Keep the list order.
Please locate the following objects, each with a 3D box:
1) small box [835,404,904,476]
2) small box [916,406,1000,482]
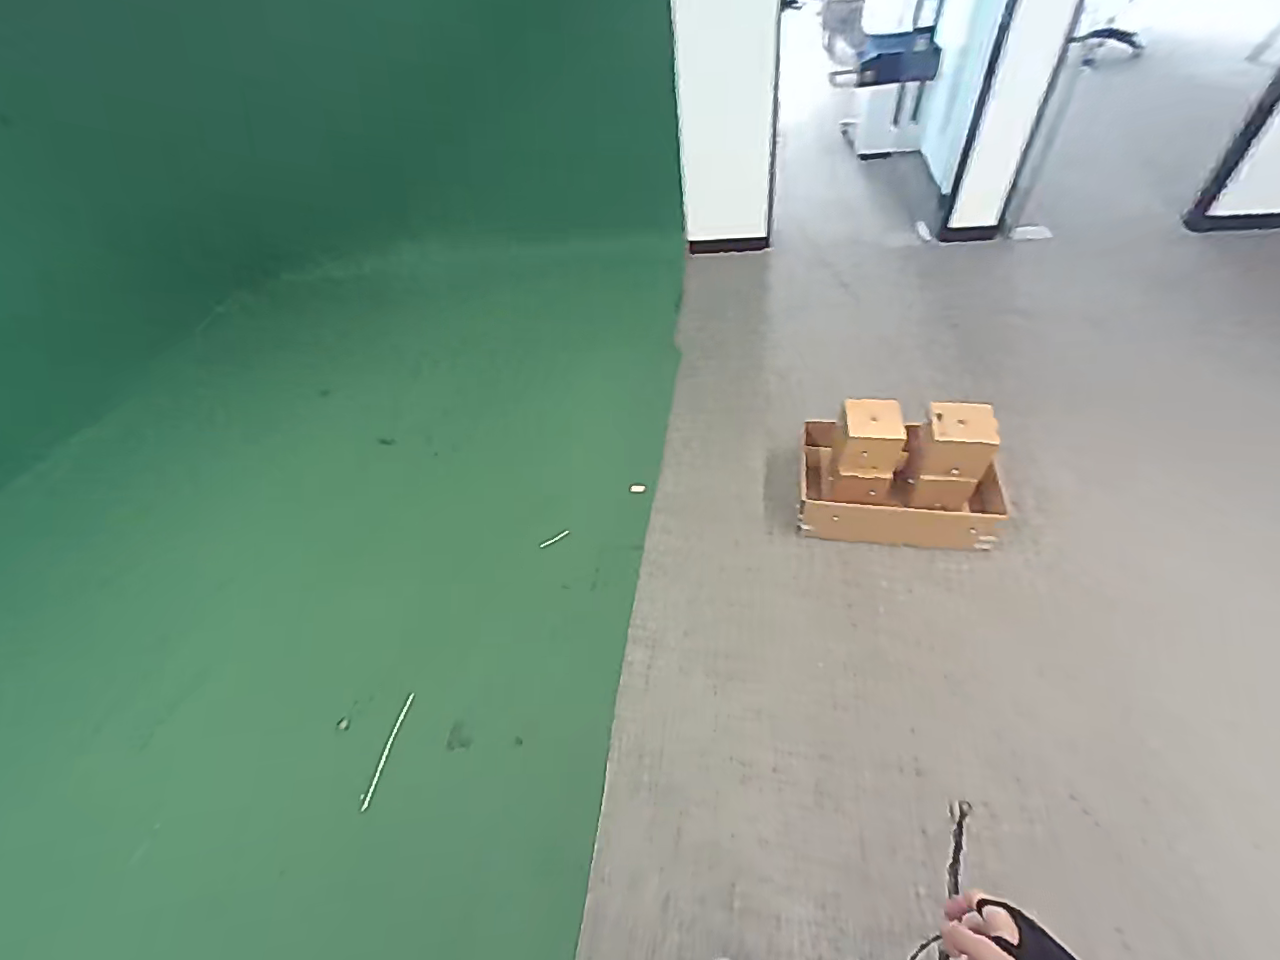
[{"bbox_3d":[0.740,-0.128,1.756,0.168,0.176,0.179,3,49,9],"label":"small box"},{"bbox_3d":[0.988,-0.110,1.694,0.179,0.176,0.168,5,51,14],"label":"small box"}]
